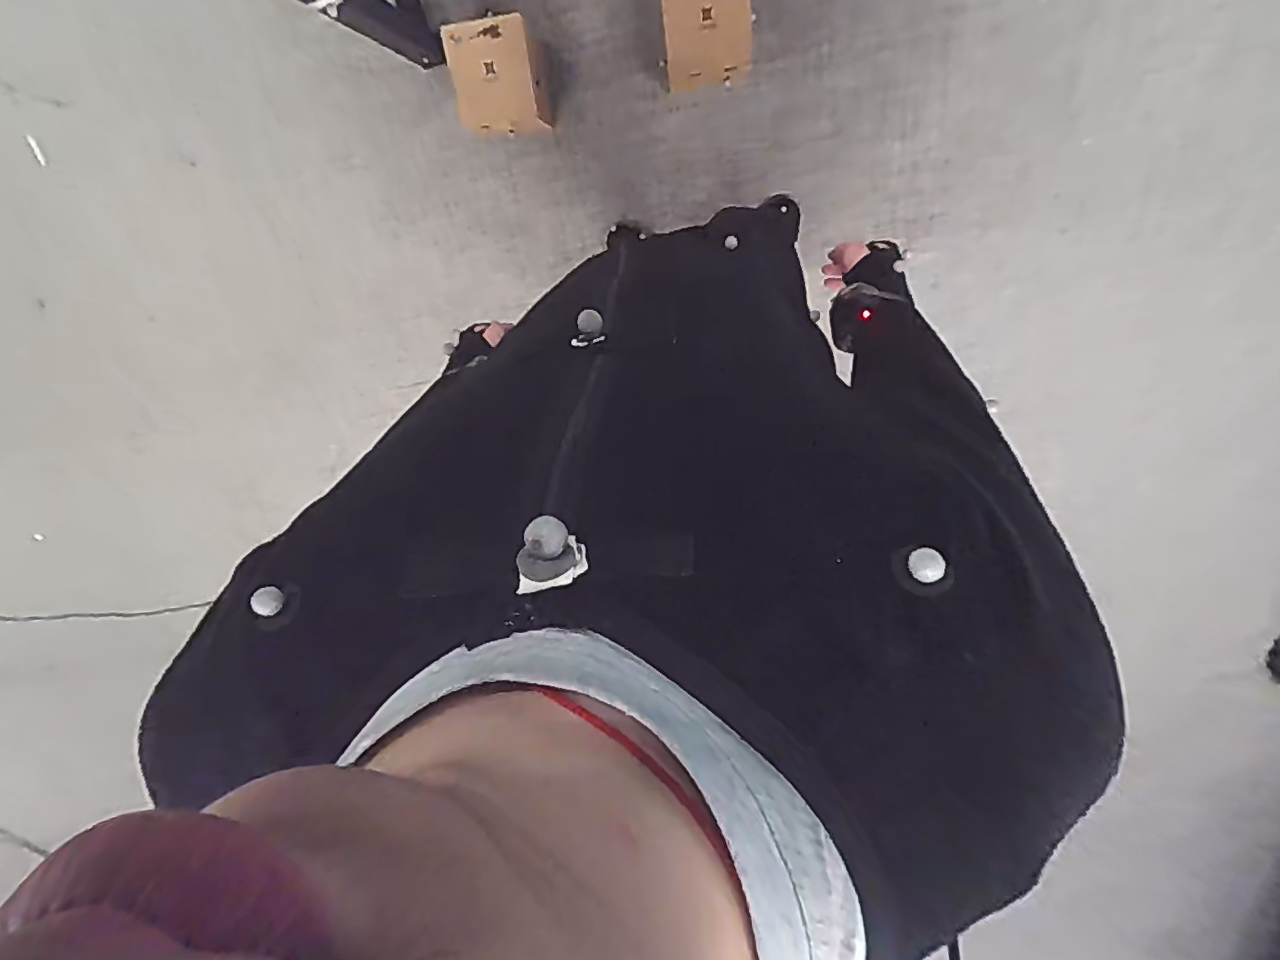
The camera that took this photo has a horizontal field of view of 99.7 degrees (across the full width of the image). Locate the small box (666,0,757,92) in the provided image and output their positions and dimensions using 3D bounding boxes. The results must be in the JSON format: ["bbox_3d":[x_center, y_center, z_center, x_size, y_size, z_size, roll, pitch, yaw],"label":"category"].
[{"bbox_3d":[0.141,-0.911,1.094,0.168,0.176,0.179,-6,114,7],"label":"small box"}]
